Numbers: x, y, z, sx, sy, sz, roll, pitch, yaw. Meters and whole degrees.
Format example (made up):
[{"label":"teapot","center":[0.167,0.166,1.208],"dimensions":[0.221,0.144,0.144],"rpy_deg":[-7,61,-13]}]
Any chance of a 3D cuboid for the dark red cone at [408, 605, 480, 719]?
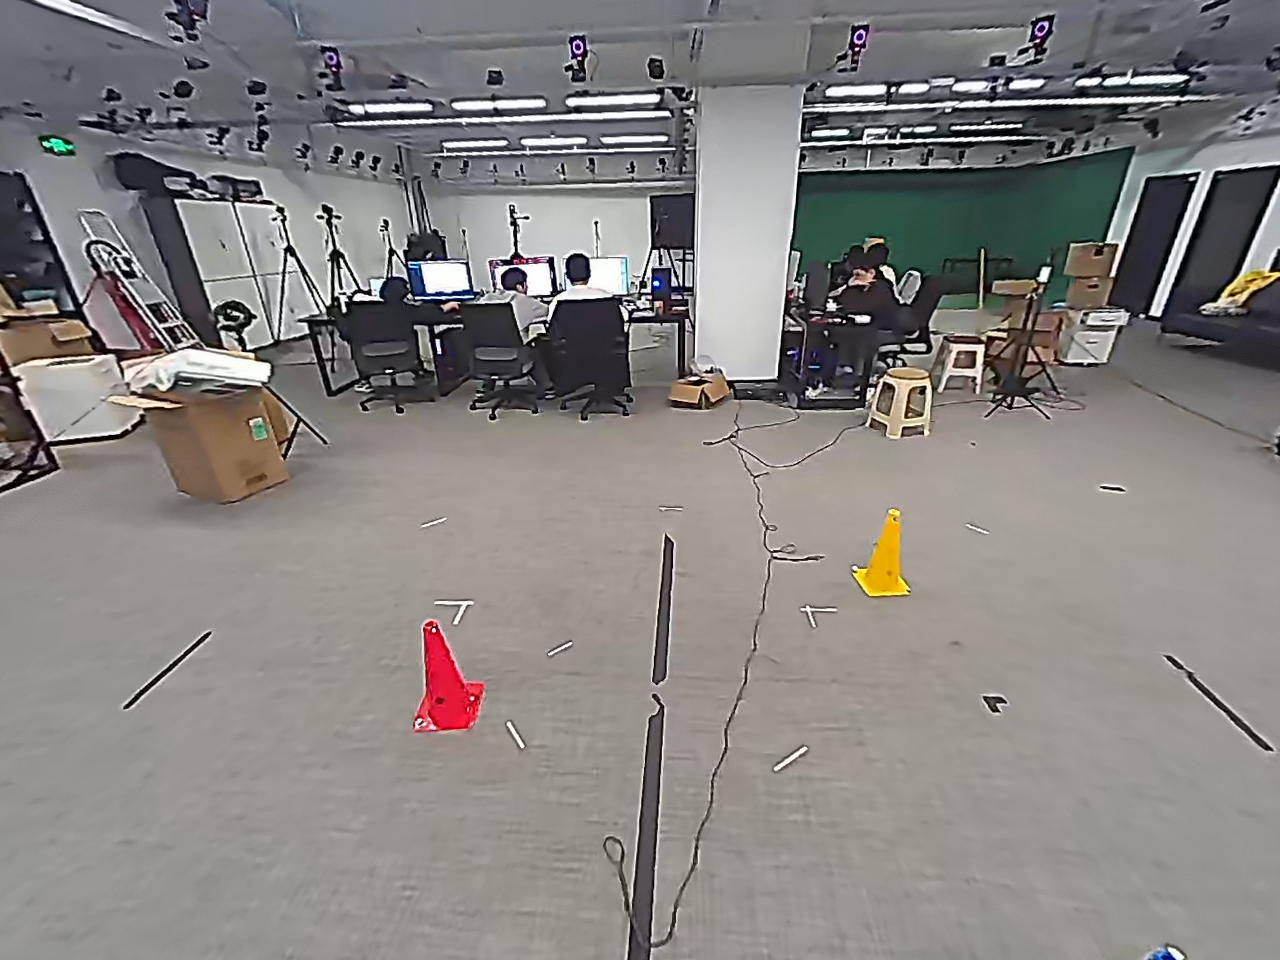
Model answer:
[{"label":"dark red cone","center":[-0.649,0.573,1.738],"dimensions":[0.201,0.394,0.202],"rpy_deg":[-1,25,-3]}]
